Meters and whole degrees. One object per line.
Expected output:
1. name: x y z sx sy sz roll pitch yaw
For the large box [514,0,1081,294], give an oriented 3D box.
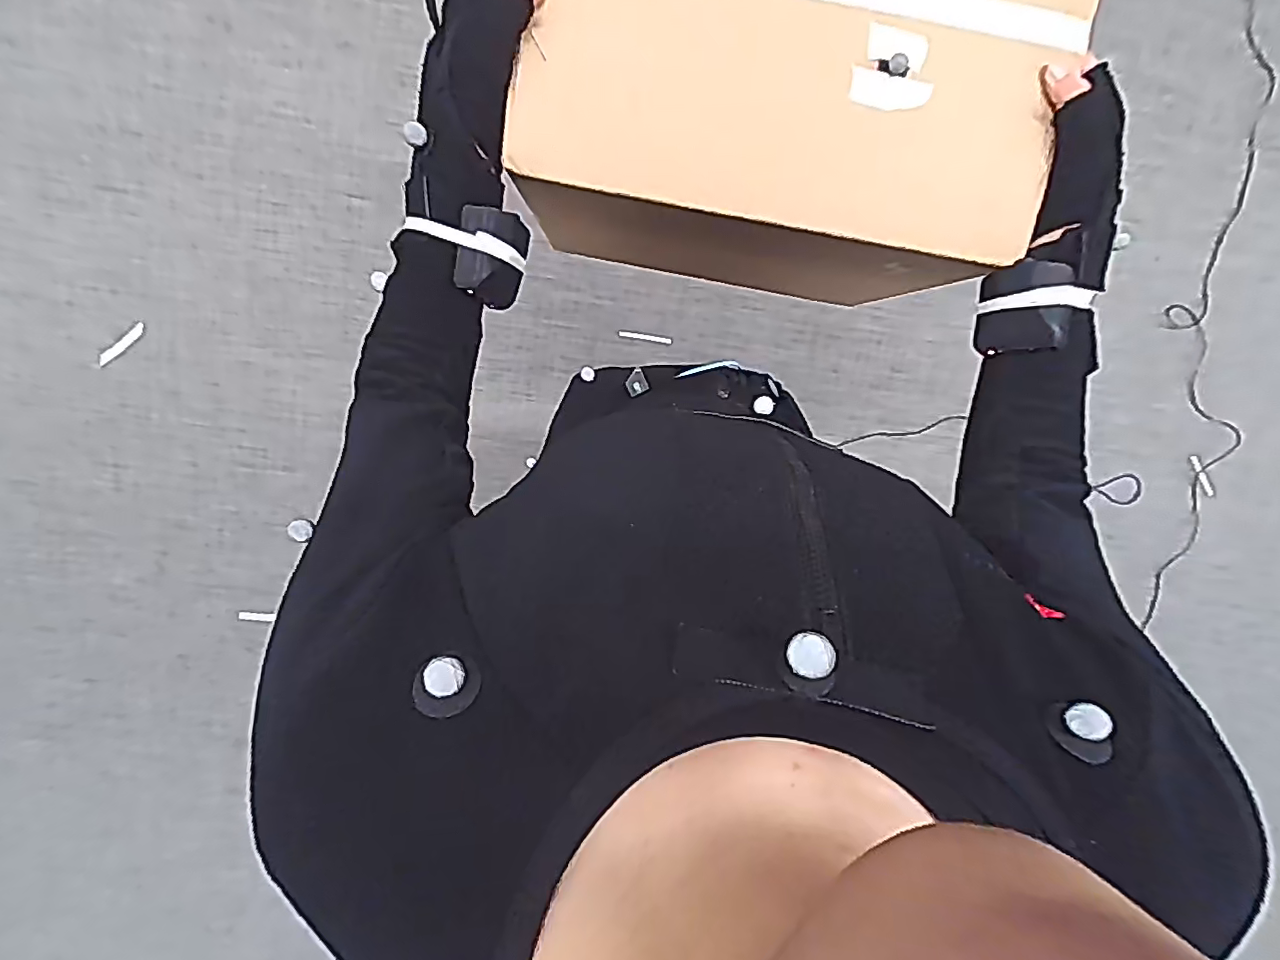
1. large box: 0.114 -0.387 0.532 0.408 0.320 0.320 9 103 -5
